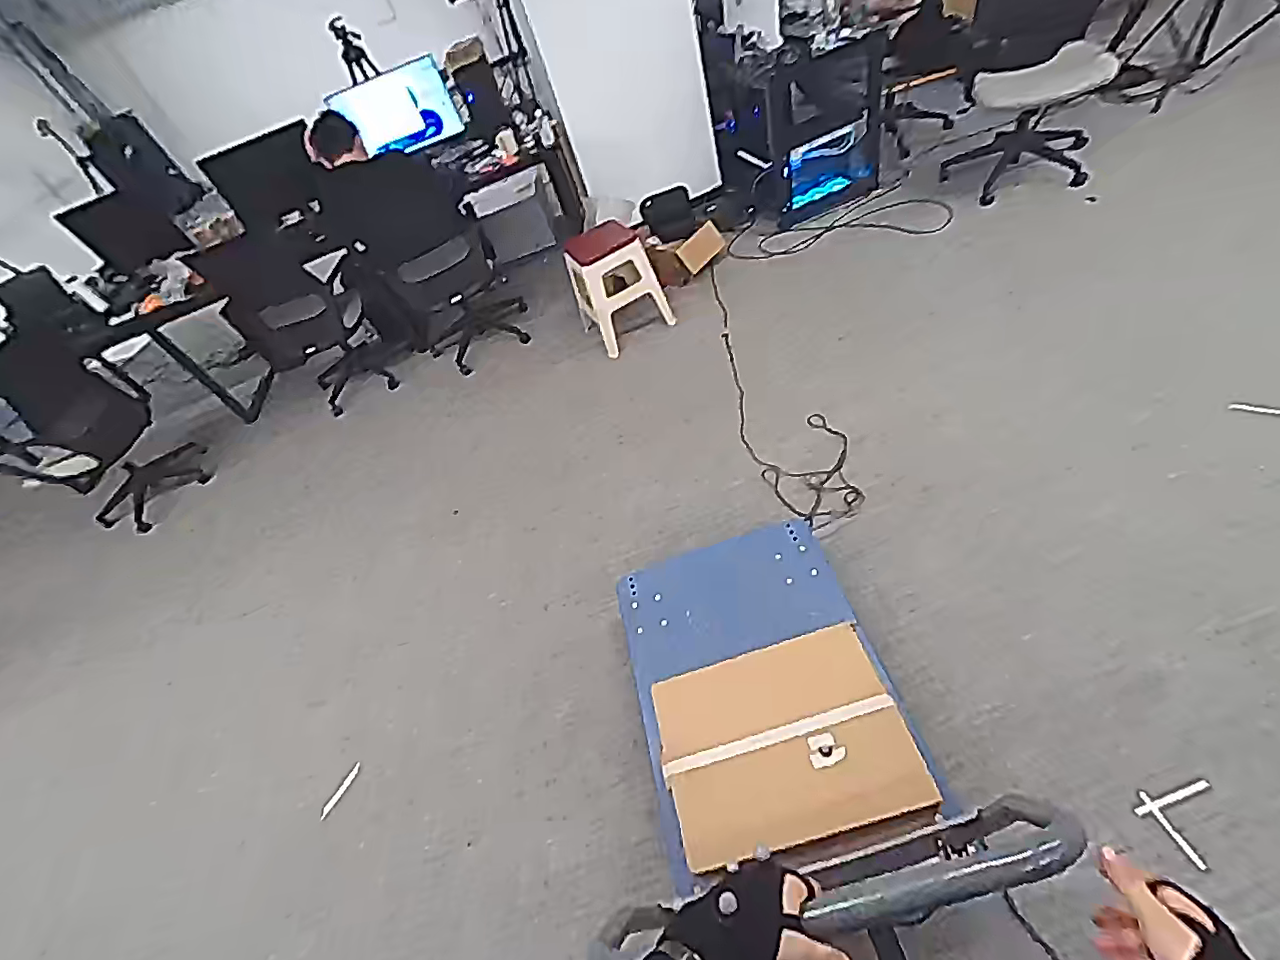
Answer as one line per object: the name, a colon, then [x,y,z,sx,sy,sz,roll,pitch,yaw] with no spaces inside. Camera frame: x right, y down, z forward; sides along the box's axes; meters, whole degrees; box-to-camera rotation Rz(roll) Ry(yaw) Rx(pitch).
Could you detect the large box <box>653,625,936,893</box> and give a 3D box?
large box: [0.280,0.544,1.045,0.408,0.320,0.320,-20,47,4]
